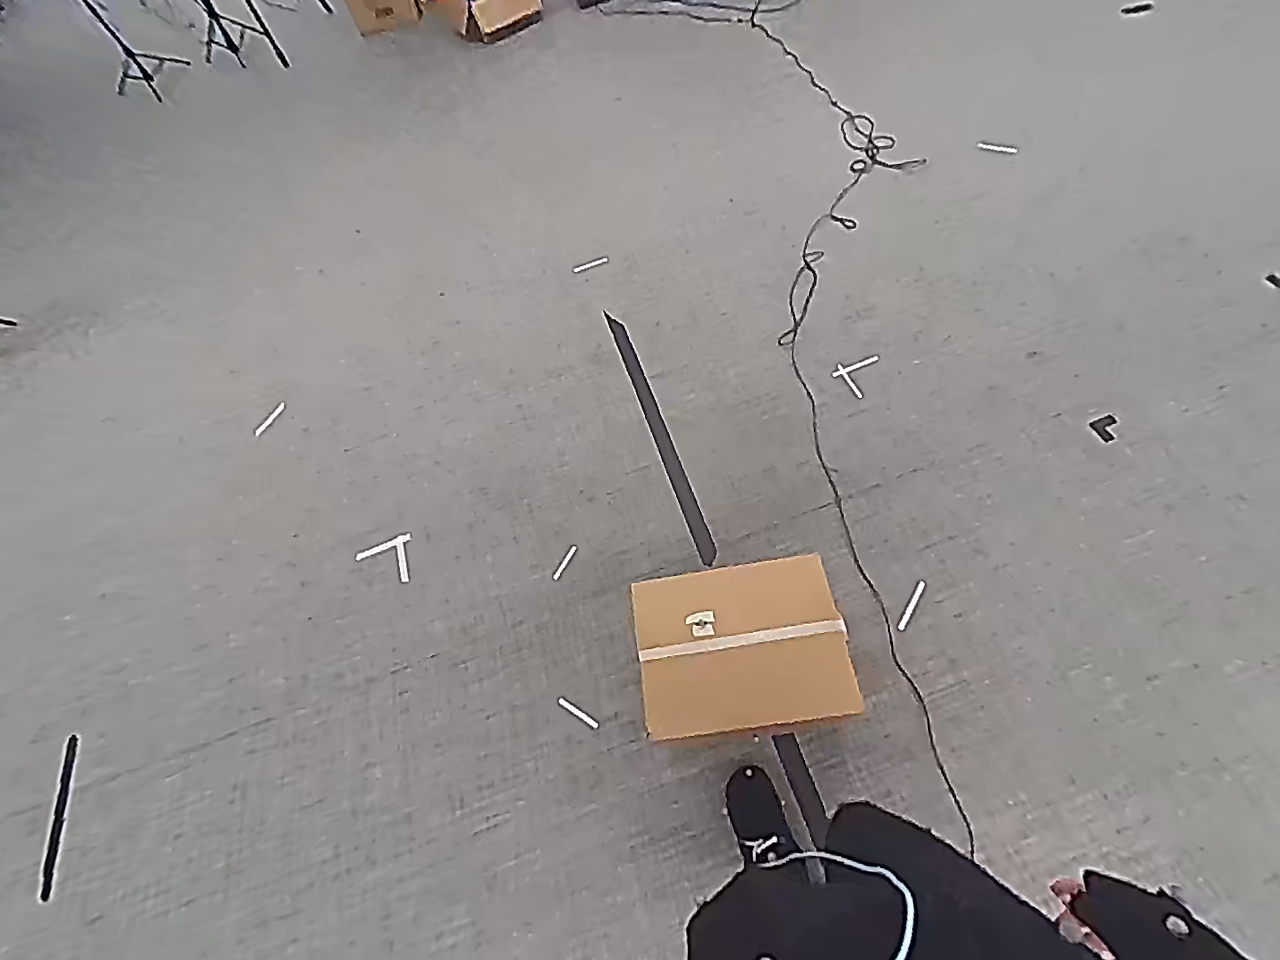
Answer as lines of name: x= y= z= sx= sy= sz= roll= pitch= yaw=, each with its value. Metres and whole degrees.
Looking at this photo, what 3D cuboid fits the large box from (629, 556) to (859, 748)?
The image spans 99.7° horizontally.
large box: x=0.215 y=0.394 z=1.194 sx=0.408 sy=0.320 sz=0.320 roll=-11 pitch=59 yaw=6
